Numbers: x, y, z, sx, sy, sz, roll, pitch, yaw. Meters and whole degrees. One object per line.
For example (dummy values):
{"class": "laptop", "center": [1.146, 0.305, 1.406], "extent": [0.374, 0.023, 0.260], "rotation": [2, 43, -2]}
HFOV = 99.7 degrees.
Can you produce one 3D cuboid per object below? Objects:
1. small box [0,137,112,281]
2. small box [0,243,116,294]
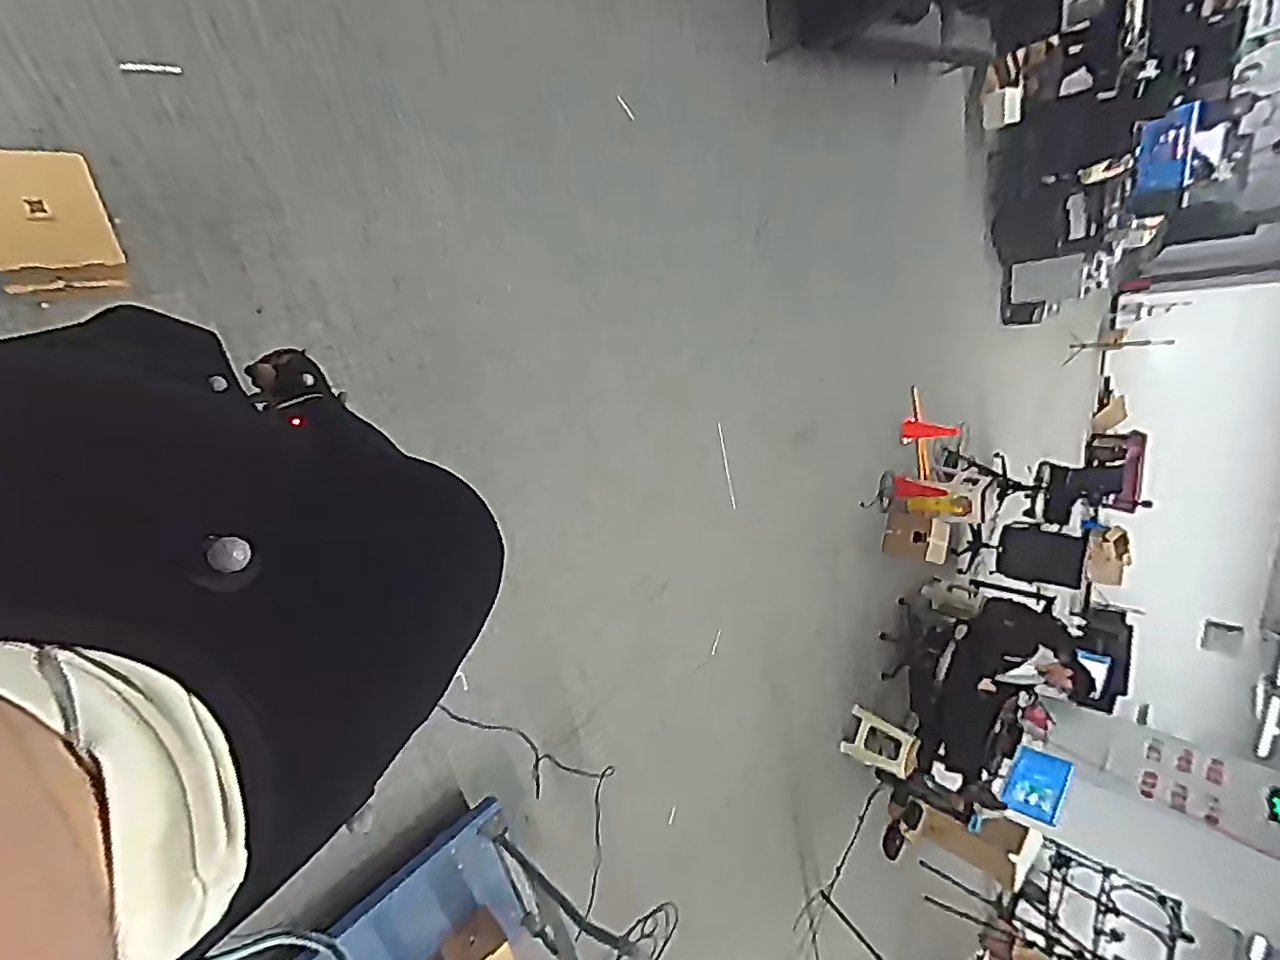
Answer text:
{"class": "small box", "center": [-1.040, -0.455, 0.917], "extent": [0.179, 0.176, 0.168], "rotation": [18, 87, -43]}
{"class": "small box", "center": [-1.142, -0.457, 1.034], "extent": [0.168, 0.176, 0.179], "rotation": [-23, 112, -39]}
